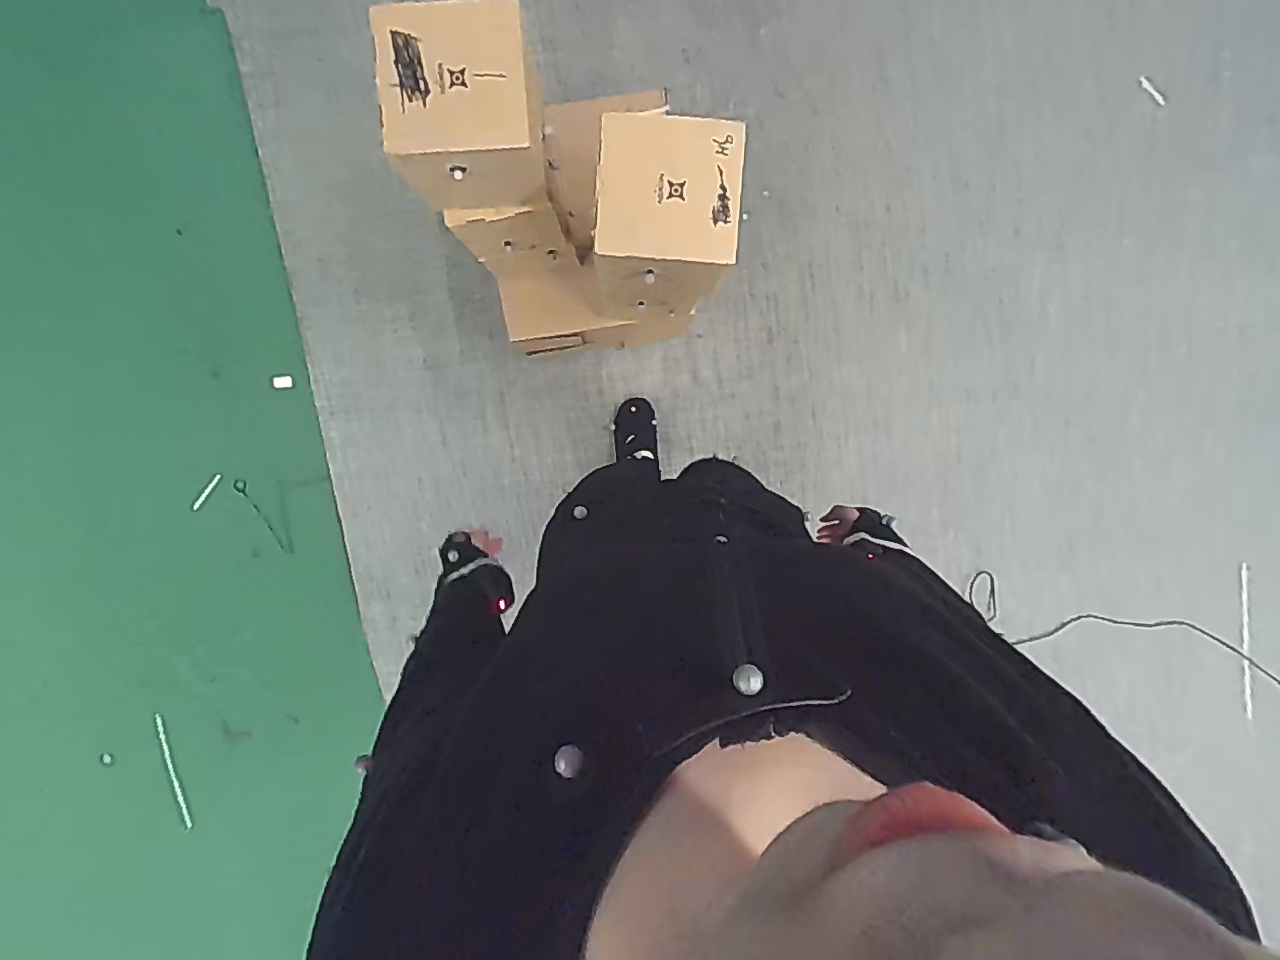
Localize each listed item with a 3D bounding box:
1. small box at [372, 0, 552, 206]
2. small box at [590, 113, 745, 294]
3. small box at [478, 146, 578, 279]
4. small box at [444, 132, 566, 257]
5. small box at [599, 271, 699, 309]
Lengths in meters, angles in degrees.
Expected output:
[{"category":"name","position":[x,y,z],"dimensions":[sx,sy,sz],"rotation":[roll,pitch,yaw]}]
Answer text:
[{"category":"small box","position":[-0.220,-0.477,0.711],"dimensions":[0.179,0.176,0.168],"rotation":[-3,96,0]},{"category":"small box","position":[0.033,-0.355,0.725],"dimensions":[0.179,0.176,0.168],"rotation":[4,97,0]},{"category":"small box","position":[-0.218,-0.502,1.038],"dimensions":[0.179,0.176,0.168],"rotation":[-10,95,1]},{"category":"small box","position":[-0.220,-0.485,0.876],"dimensions":[0.168,0.176,0.179],"rotation":[-8,96,0]},{"category":"small box","position":[0.017,-0.389,0.887],"dimensions":[0.168,0.176,0.179],"rotation":[-1,96,-1]}]
